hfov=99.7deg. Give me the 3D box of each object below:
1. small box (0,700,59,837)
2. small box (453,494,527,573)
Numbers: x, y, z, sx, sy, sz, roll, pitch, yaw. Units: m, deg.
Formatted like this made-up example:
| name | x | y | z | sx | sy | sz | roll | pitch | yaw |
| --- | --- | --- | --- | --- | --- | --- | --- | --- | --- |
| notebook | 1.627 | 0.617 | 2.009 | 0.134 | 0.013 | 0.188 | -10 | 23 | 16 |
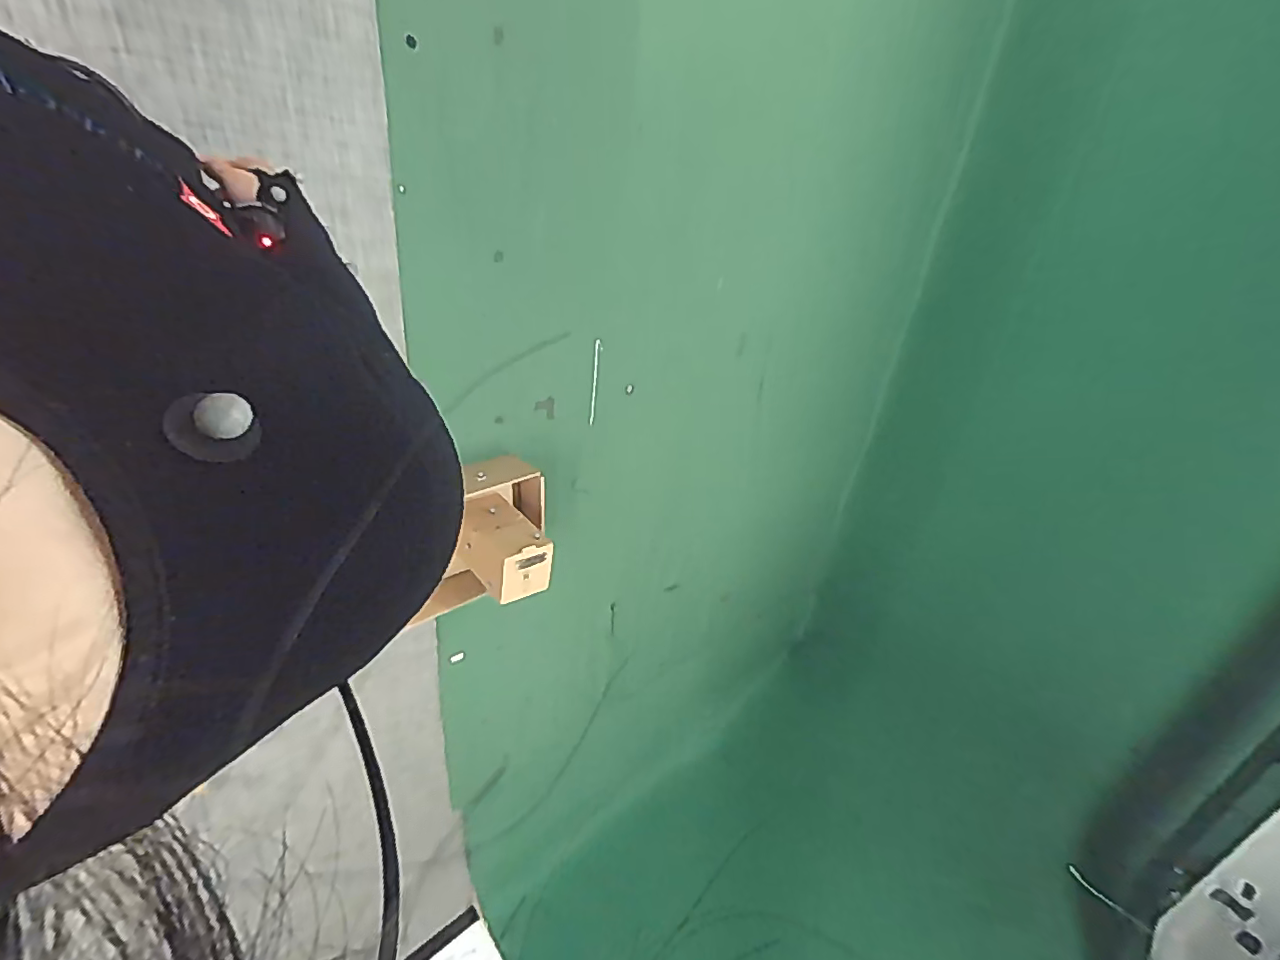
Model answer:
| name | x | y | z | sx | sy | sz | roll | pitch | yaw |
| --- | --- | --- | --- | --- | --- | --- | --- | --- | --- |
| small box | -1.236 | 0.557 | 1.012 | 0.168 | 0.176 | 0.179 | -21 | 129 | -39 |
| small box | -0.485 | 0.165 | 1.748 | 0.179 | 0.176 | 0.168 | -18 | 128 | -37 |
